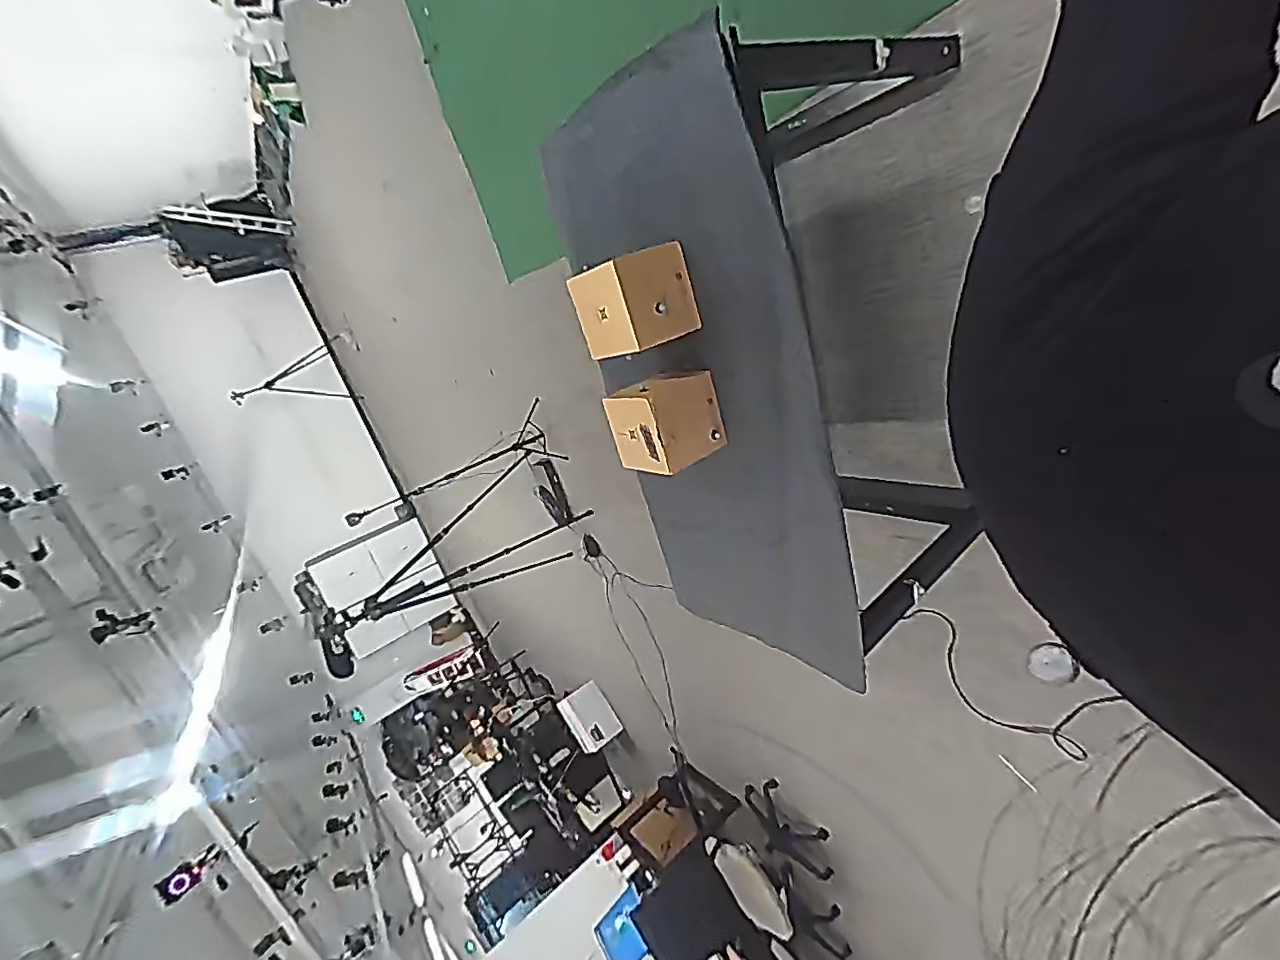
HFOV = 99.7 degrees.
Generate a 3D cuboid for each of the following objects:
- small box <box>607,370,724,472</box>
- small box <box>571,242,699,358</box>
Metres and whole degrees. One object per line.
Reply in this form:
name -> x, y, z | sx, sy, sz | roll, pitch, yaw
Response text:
small box -> 0.062, -0.133, 1.162 | 0.179, 0.176, 0.168 | 12, 125, 54
small box -> -0.003, -0.355, 1.074 | 0.179, 0.176, 0.168 | 9, 122, 55
